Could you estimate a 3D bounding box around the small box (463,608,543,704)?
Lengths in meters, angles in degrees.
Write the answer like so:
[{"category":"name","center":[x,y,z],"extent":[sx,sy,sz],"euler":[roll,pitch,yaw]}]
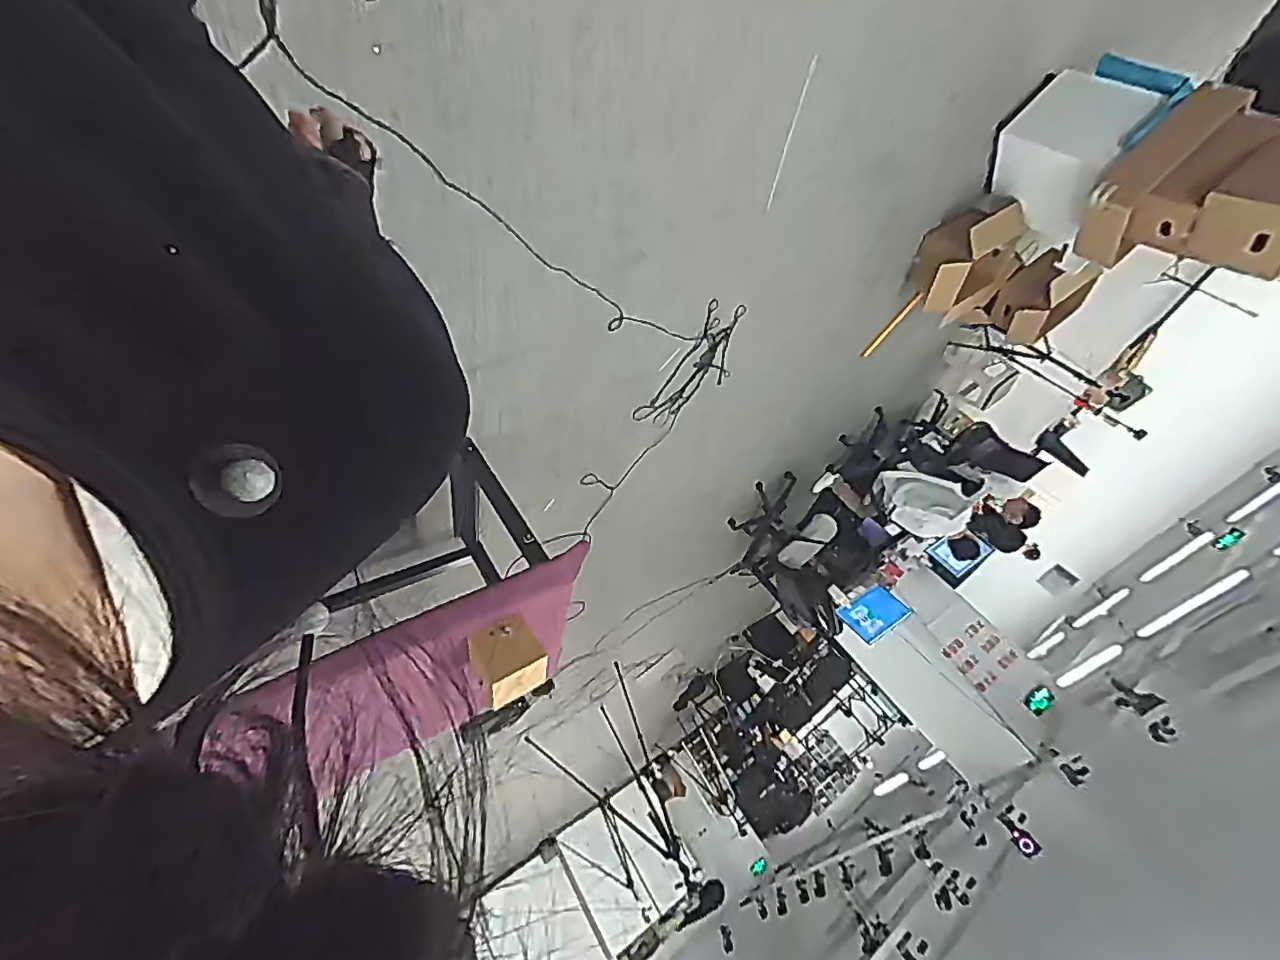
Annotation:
[{"category":"small box","center":[-0.394,0.500,1.547],"extent":[0.168,0.176,0.179],"euler":[-21,145,-31]}]
